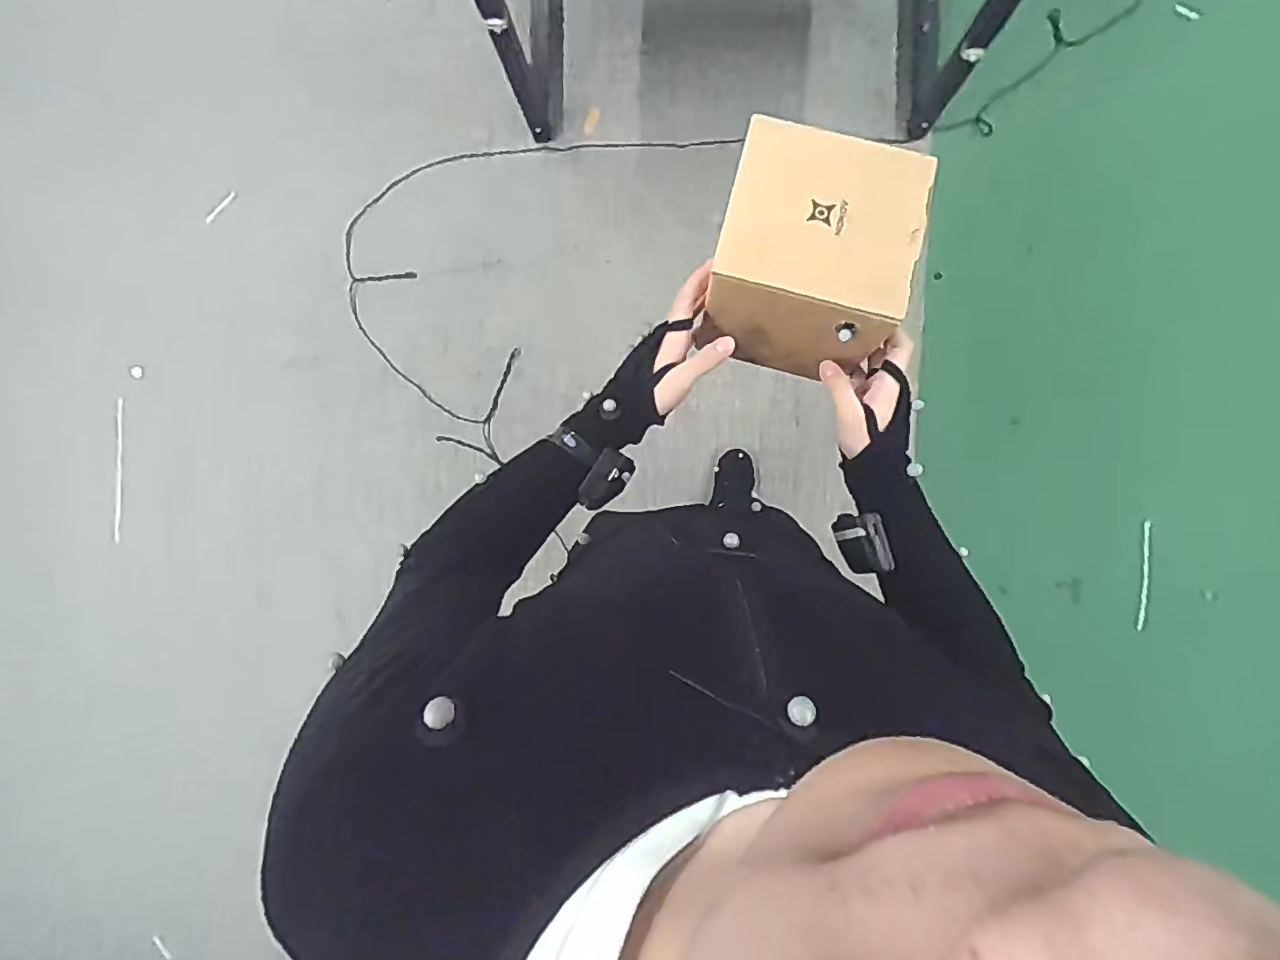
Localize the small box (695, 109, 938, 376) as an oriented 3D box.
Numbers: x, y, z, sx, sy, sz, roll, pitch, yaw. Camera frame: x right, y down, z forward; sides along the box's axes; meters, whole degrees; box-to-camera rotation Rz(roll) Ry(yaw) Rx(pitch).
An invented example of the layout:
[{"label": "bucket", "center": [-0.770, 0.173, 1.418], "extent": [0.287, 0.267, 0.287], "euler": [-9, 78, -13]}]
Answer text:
[{"label": "small box", "center": [0.161, -0.223, 0.548], "extent": [0.179, 0.176, 0.168], "euler": [15, 81, 3]}]
